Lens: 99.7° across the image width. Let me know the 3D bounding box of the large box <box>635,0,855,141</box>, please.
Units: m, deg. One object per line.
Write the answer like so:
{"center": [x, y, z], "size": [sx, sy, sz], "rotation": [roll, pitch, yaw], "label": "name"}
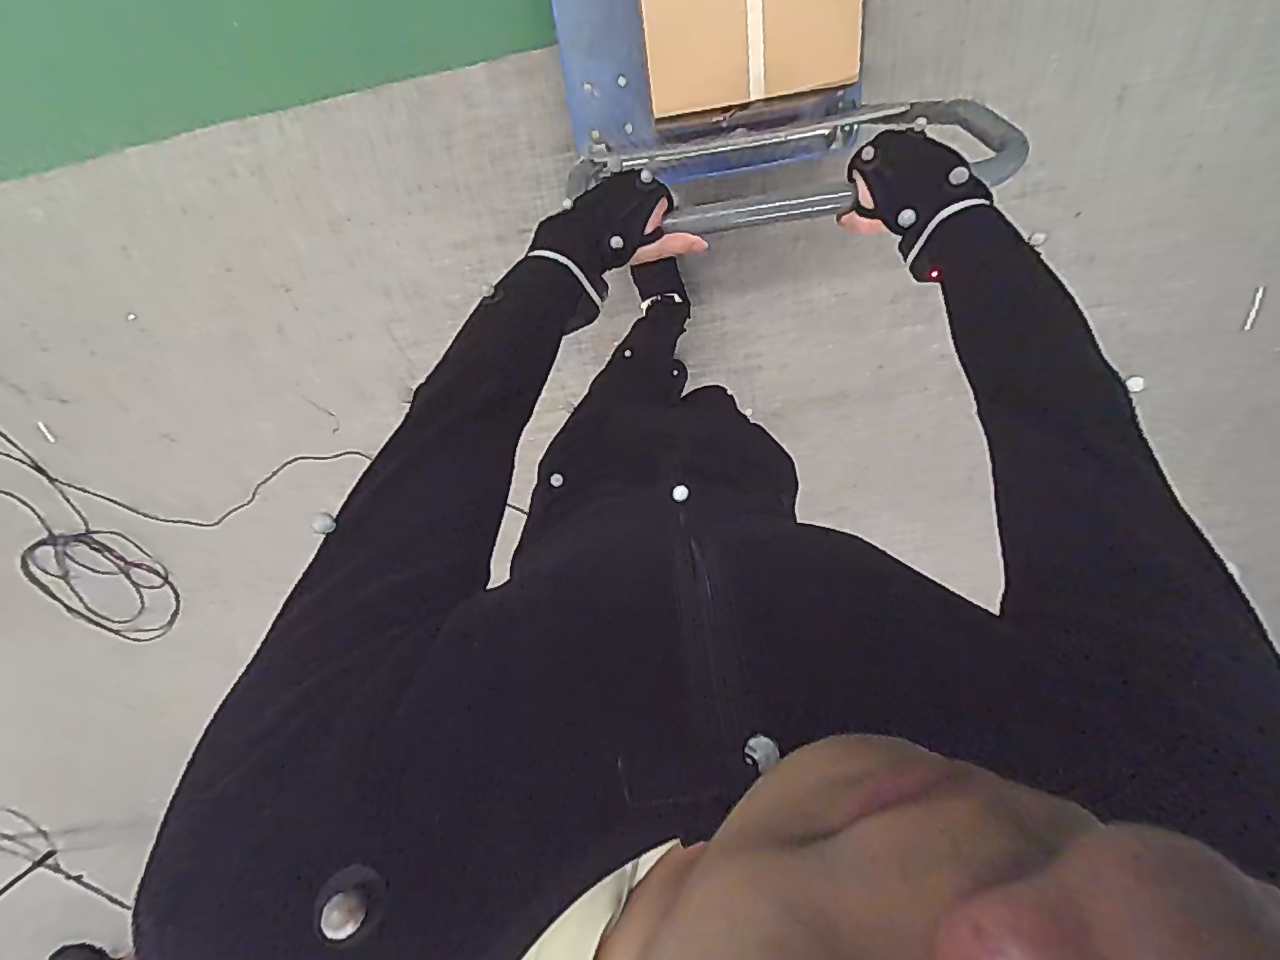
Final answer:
{"center": [0.143, -0.818, 0.874], "size": [0.320, 0.320, 0.408], "rotation": [-8, 119, 4], "label": "large box"}
